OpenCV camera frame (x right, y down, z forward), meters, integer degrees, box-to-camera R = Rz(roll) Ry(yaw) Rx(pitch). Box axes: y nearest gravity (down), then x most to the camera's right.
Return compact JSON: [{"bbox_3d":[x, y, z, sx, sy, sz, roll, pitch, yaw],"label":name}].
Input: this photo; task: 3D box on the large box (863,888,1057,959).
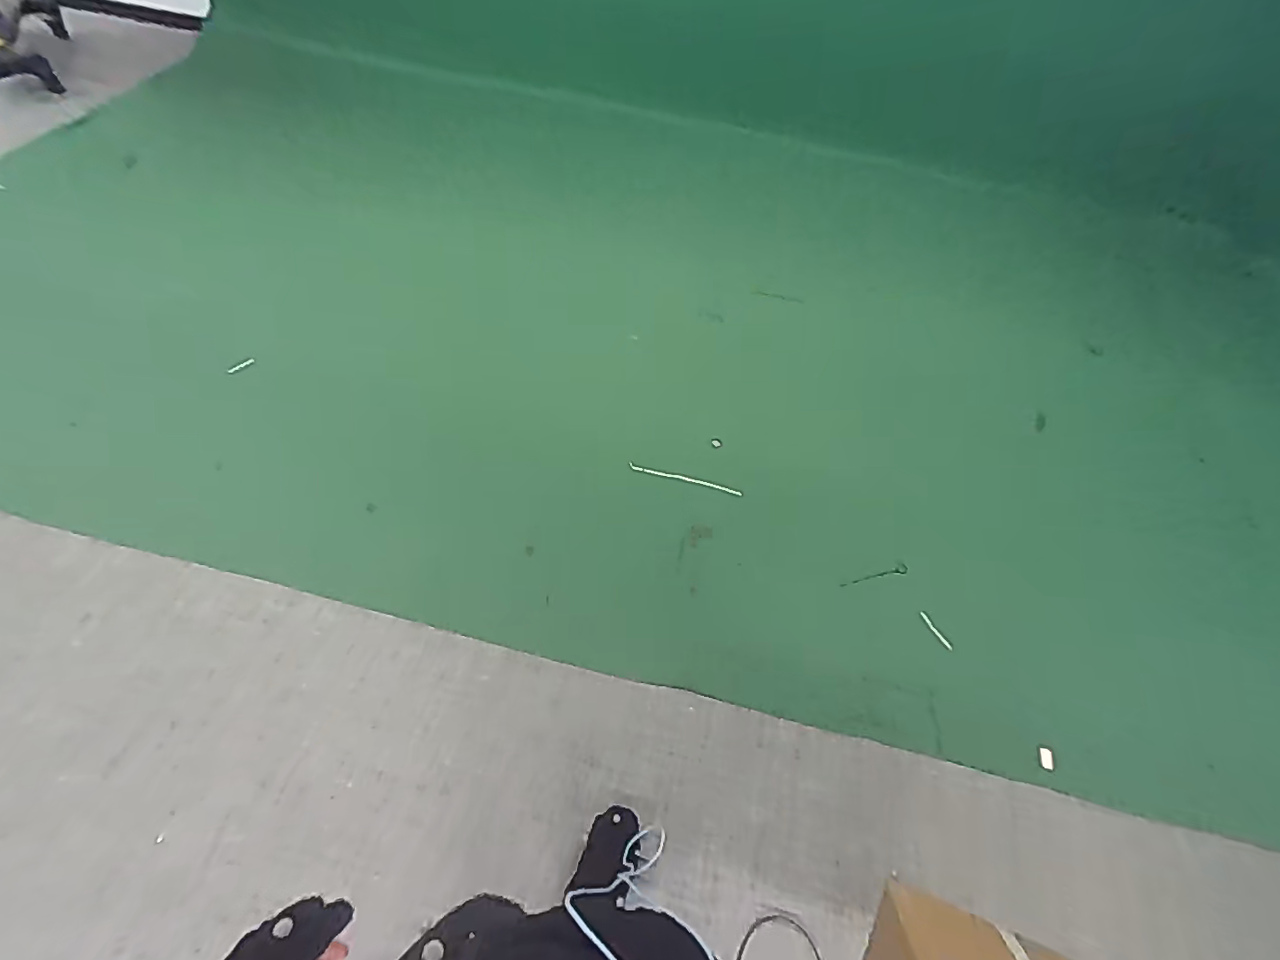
[{"bbox_3d":[0.420,0.769,0.571,0.320,0.408,0.320,19,87,13],"label":"large box"}]
